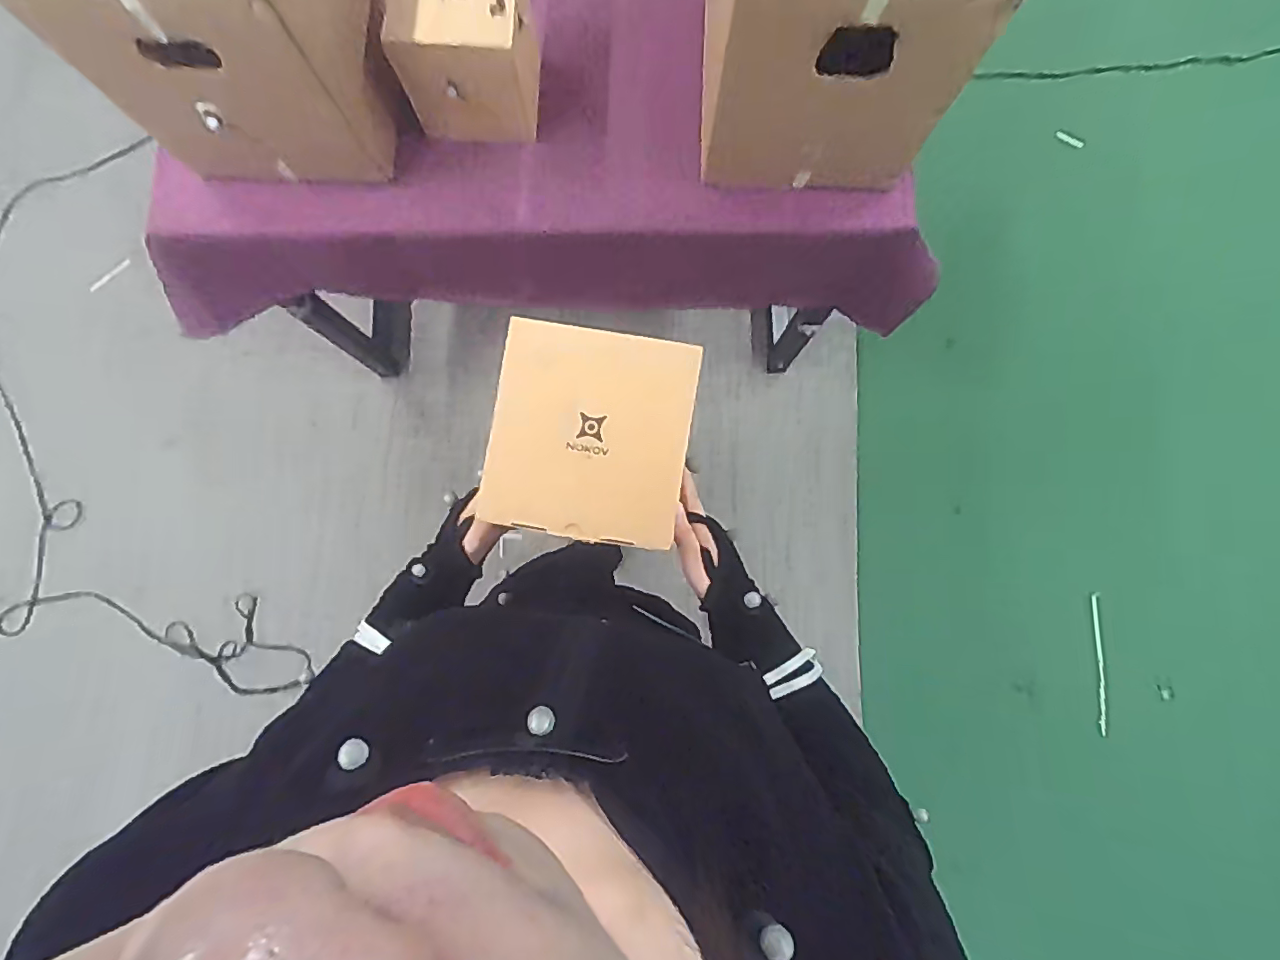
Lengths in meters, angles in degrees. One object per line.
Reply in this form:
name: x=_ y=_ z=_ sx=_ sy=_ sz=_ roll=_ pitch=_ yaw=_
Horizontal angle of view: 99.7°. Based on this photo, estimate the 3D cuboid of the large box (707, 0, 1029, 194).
large box: x=0.269 y=-0.685 z=0.752 sx=0.320 sy=0.320 sz=0.408 roll=2 pitch=83 yaw=-1

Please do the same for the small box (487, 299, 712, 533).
small box: x=-0.035 y=-0.051 z=0.534 sx=0.168 sy=0.176 sz=0.179 roll=10 pitch=88 yaw=0
